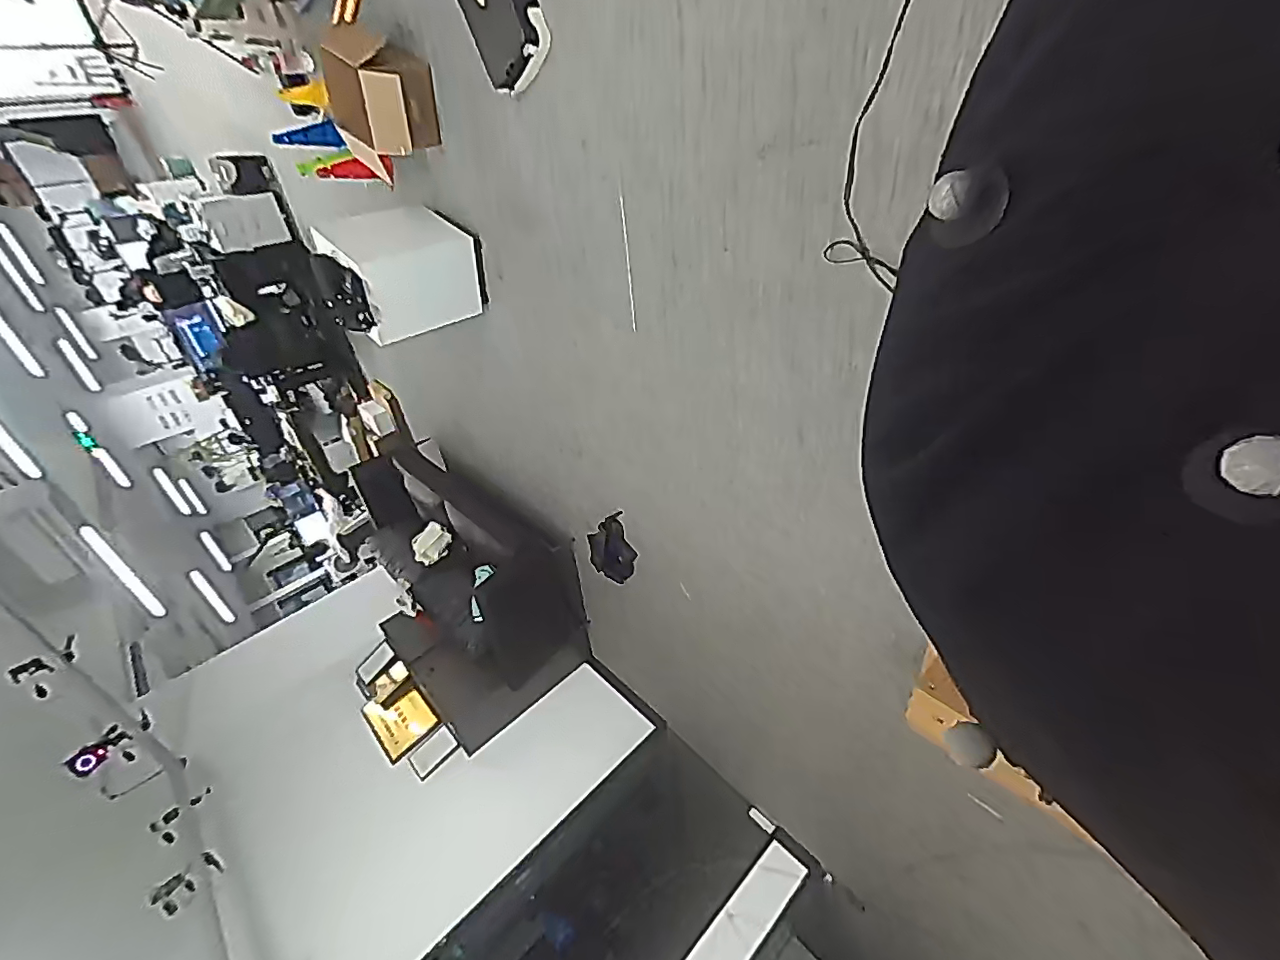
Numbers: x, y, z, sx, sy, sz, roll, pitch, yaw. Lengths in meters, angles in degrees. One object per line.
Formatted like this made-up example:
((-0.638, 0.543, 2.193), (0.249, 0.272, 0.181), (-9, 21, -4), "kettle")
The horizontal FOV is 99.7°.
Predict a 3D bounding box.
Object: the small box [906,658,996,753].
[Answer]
((0.953, 0.683, 1.656), (0.179, 0.176, 0.168), (29, 138, 40), "small box")
